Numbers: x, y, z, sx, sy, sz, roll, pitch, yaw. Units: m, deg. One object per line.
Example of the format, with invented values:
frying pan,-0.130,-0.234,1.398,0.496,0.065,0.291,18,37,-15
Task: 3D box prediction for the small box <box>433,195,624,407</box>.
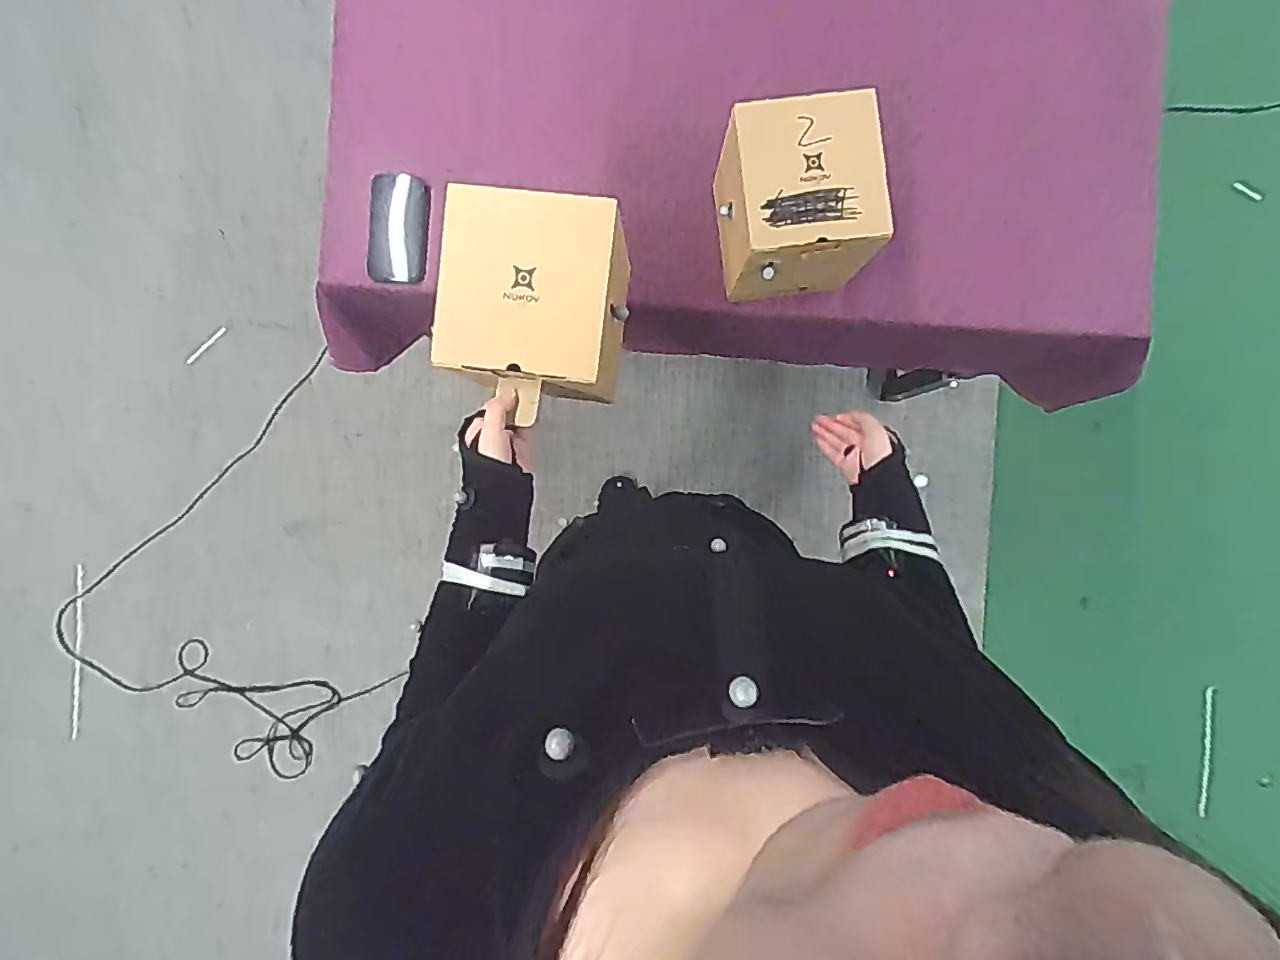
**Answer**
small box,-0.110,-0.185,0.605,0.168,0.176,0.179,7,93,3
